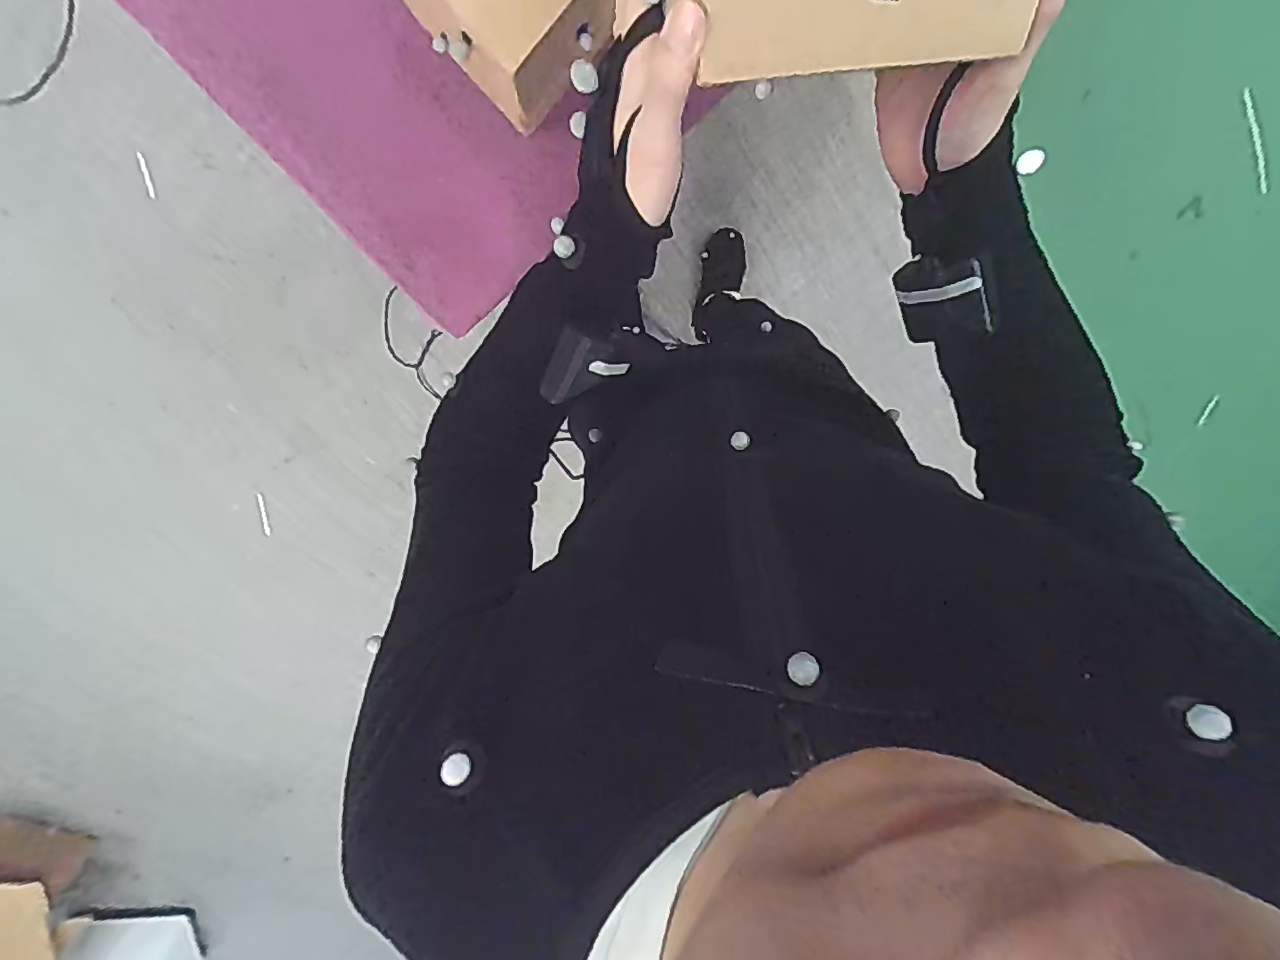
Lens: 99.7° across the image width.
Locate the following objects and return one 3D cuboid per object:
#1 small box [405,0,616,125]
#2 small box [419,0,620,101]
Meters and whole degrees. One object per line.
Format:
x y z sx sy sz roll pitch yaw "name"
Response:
-0.139 -0.509 0.557 0.179 0.176 0.168 41 104 -21 "small box"
-0.106 -0.432 0.413 0.168 0.176 0.179 -44 112 11 "small box"
